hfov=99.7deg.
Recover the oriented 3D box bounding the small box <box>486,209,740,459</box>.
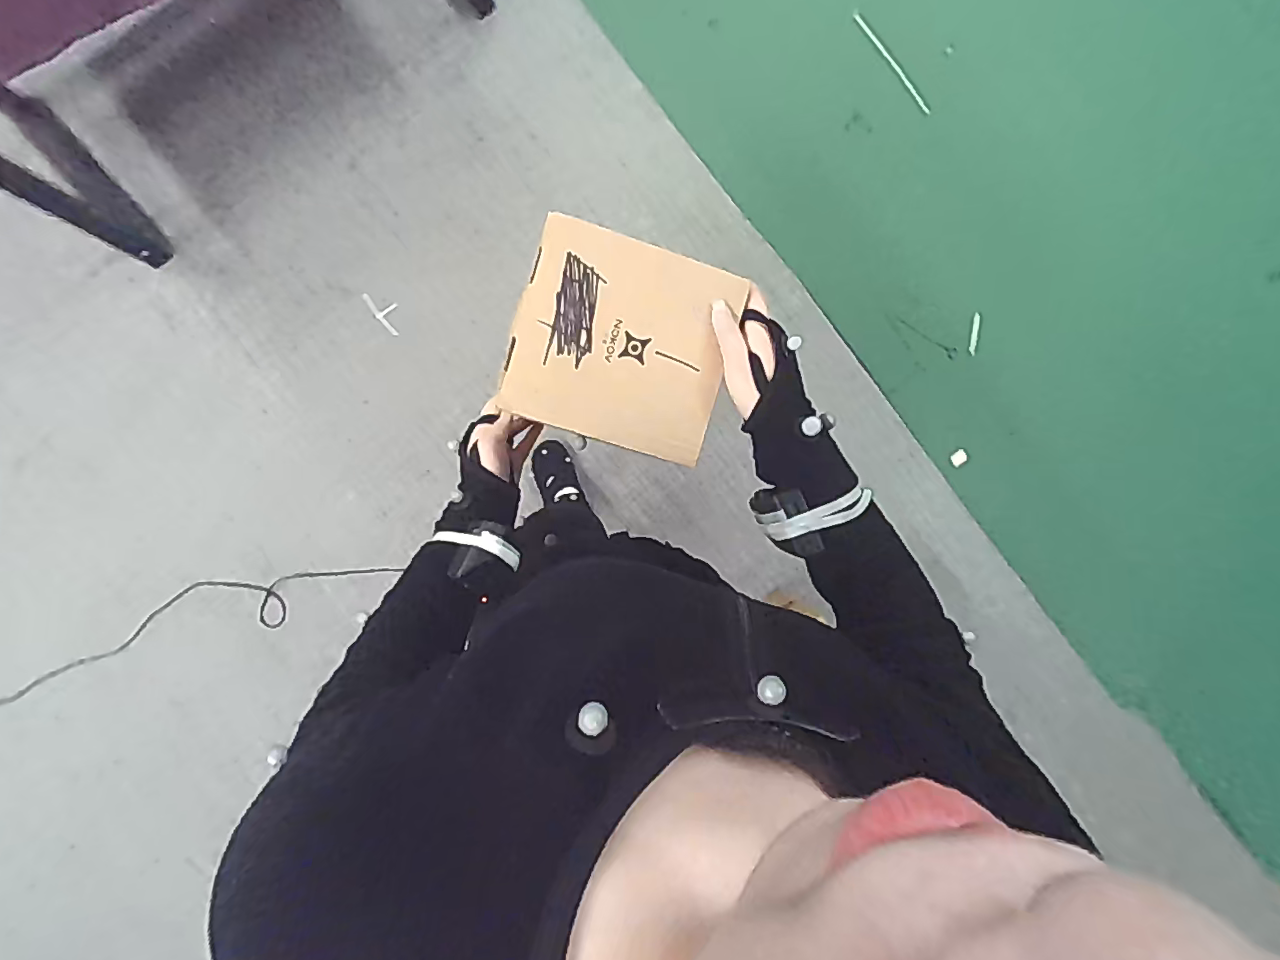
[{"bbox_3d":[-0.030,-0.123,0.524,0.179,0.176,0.168,16,93,-8],"label":"small box"}]

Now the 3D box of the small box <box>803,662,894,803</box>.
[{"bbox_3d":[0.471,0.524,1.145,0.179,0.176,0.168,-39,94,-5],"label":"small box"}]

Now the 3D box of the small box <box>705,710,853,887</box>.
[{"bbox_3d":[0.235,0.549,0.958,0.168,0.176,0.179,-29,92,-5],"label":"small box"}]
